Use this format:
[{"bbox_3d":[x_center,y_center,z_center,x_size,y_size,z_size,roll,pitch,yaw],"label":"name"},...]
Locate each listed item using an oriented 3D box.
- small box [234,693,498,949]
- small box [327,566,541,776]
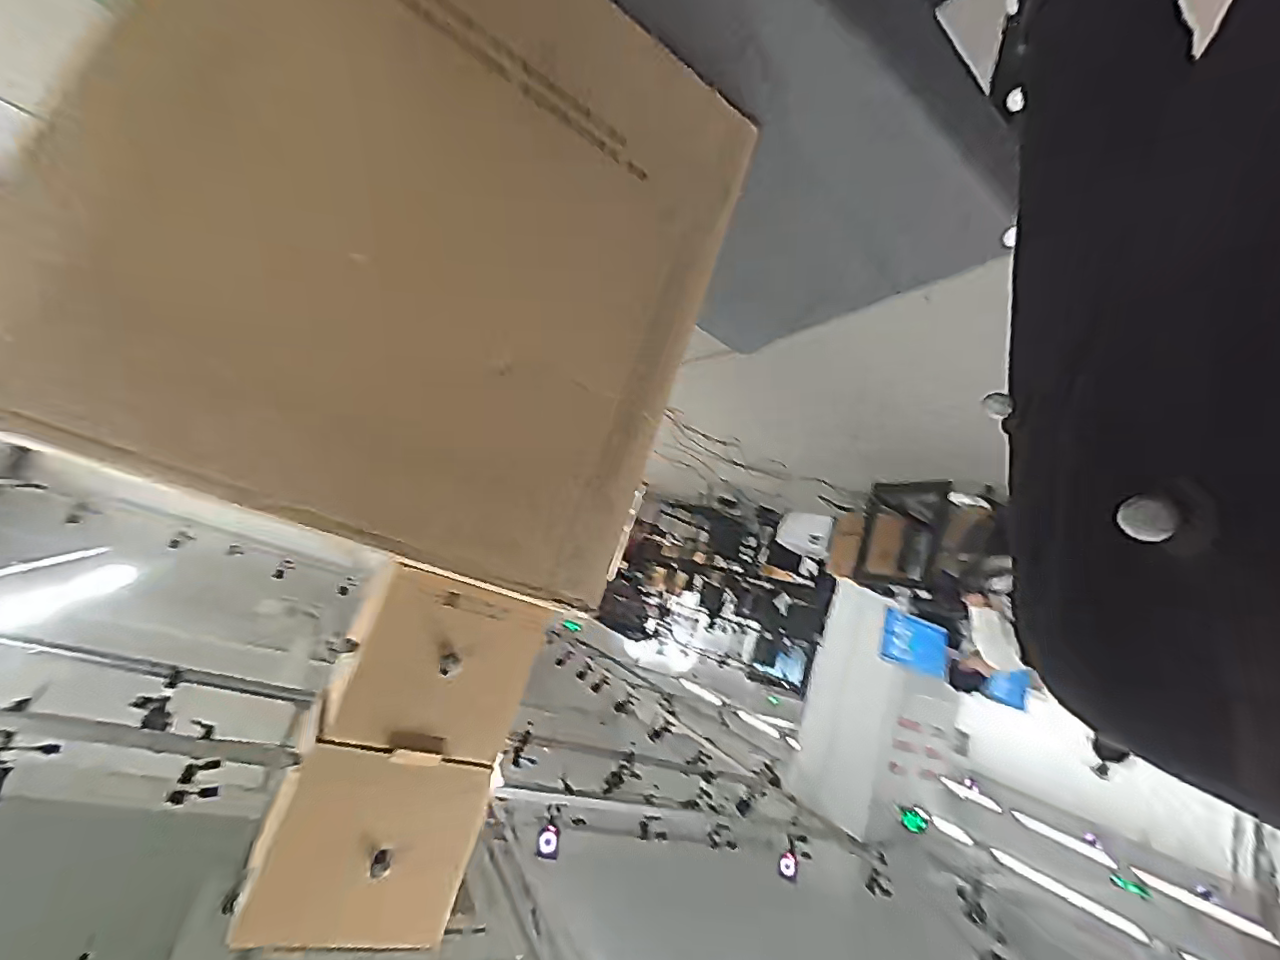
[{"bbox_3d":[-0.271,0.335,0.559,0.179,0.176,0.168,24,165,-25],"label":"small box"},{"bbox_3d":[-0.227,0.199,0.601,0.168,0.176,0.179,25,163,-25],"label":"small box"}]
